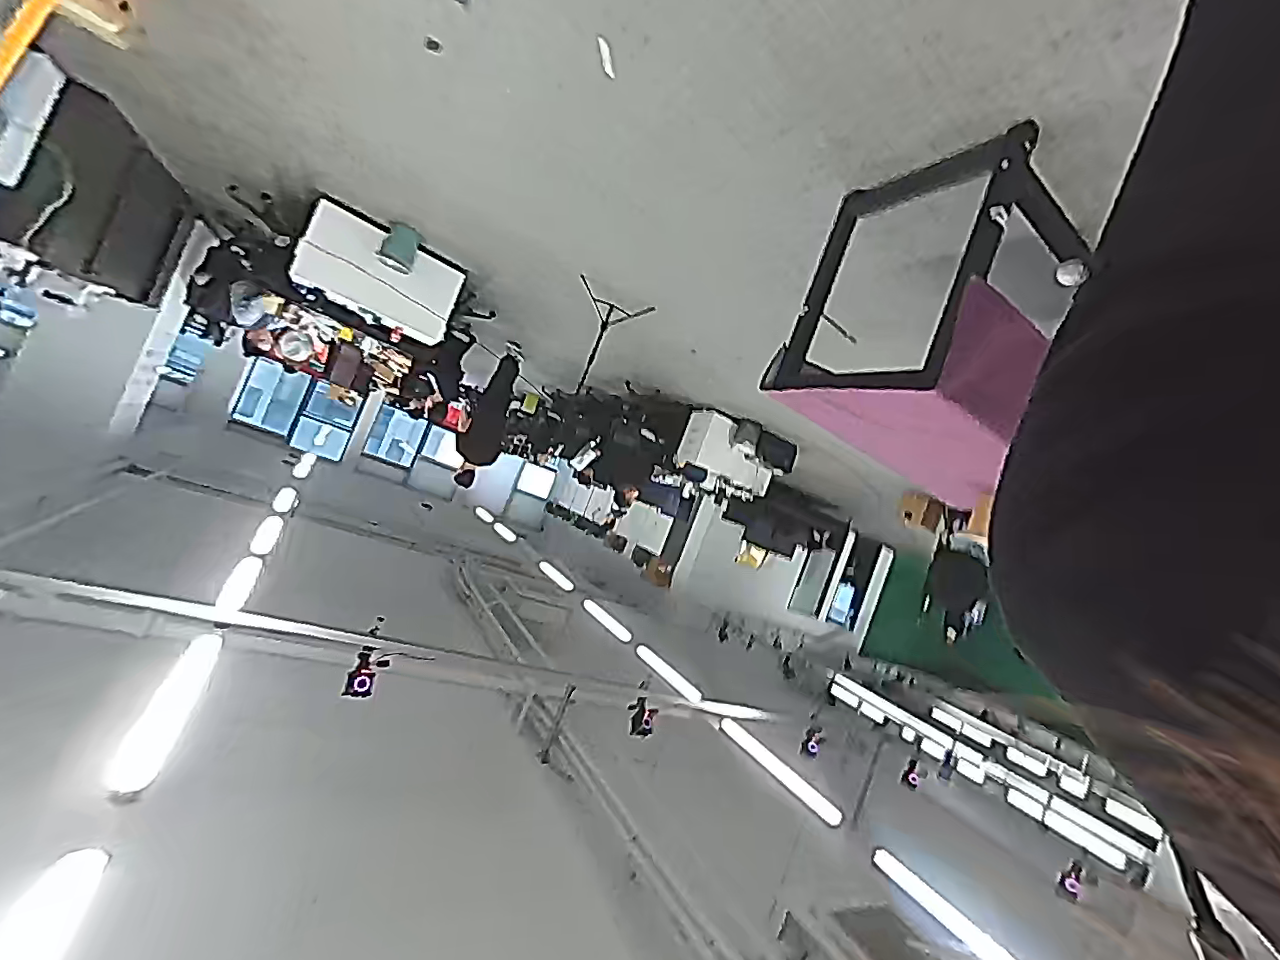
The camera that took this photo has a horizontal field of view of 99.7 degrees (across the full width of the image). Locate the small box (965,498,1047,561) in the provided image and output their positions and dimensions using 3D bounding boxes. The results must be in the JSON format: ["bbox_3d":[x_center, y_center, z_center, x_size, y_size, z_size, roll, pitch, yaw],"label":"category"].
[{"bbox_3d":[1.314,0.171,1.933,0.168,0.176,0.179,23,177,-21],"label":"small box"}]
